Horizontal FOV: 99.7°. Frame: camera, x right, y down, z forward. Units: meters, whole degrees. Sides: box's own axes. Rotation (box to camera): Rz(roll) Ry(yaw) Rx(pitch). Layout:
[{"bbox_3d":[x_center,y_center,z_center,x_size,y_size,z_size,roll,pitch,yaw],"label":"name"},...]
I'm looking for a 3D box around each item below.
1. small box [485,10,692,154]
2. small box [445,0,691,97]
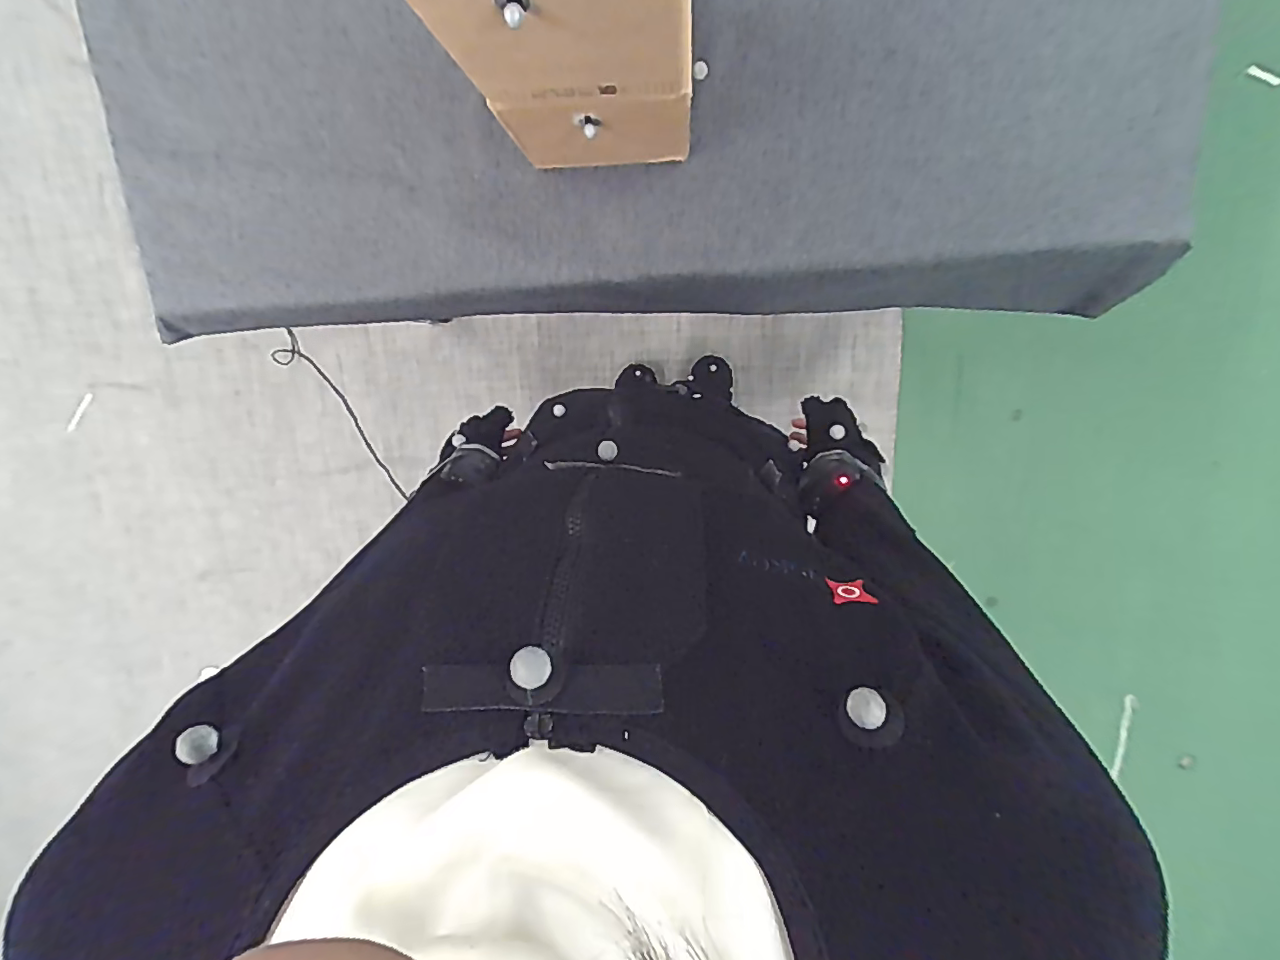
[{"bbox_3d":[-0.040,-0.428,0.513,0.179,0.176,0.168,-1,104,4],"label":"small box"},{"bbox_3d":[-0.051,-0.392,0.357,0.168,0.176,0.179,-2,105,4],"label":"small box"}]
